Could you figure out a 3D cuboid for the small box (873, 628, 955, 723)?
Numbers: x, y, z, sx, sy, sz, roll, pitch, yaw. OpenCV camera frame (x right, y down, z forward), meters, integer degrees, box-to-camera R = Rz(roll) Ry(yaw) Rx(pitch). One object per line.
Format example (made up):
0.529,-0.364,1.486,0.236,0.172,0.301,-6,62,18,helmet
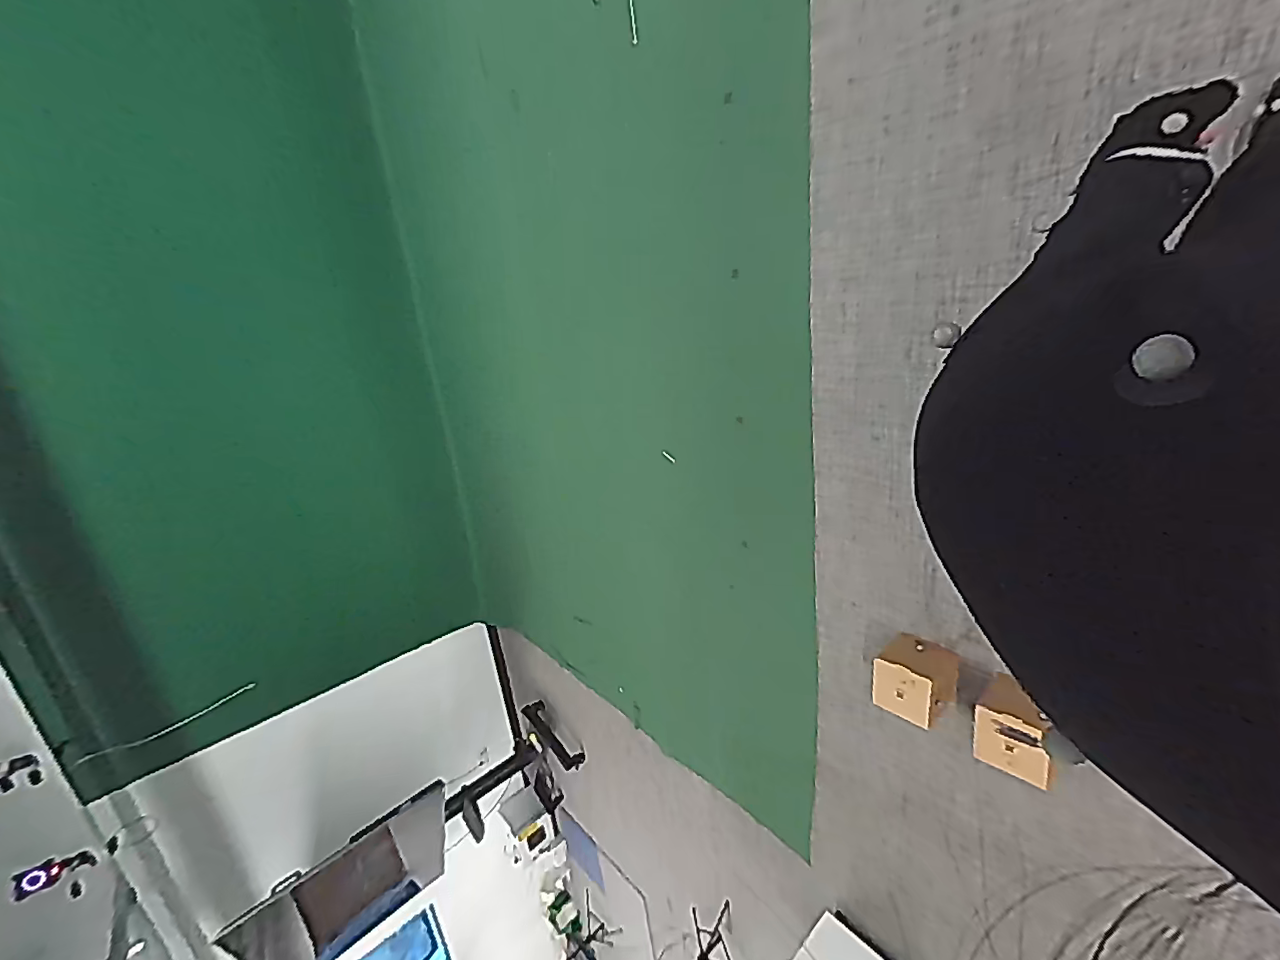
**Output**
0.825,0.579,1.625,0.168,0.176,0.179,16,118,47,small box
